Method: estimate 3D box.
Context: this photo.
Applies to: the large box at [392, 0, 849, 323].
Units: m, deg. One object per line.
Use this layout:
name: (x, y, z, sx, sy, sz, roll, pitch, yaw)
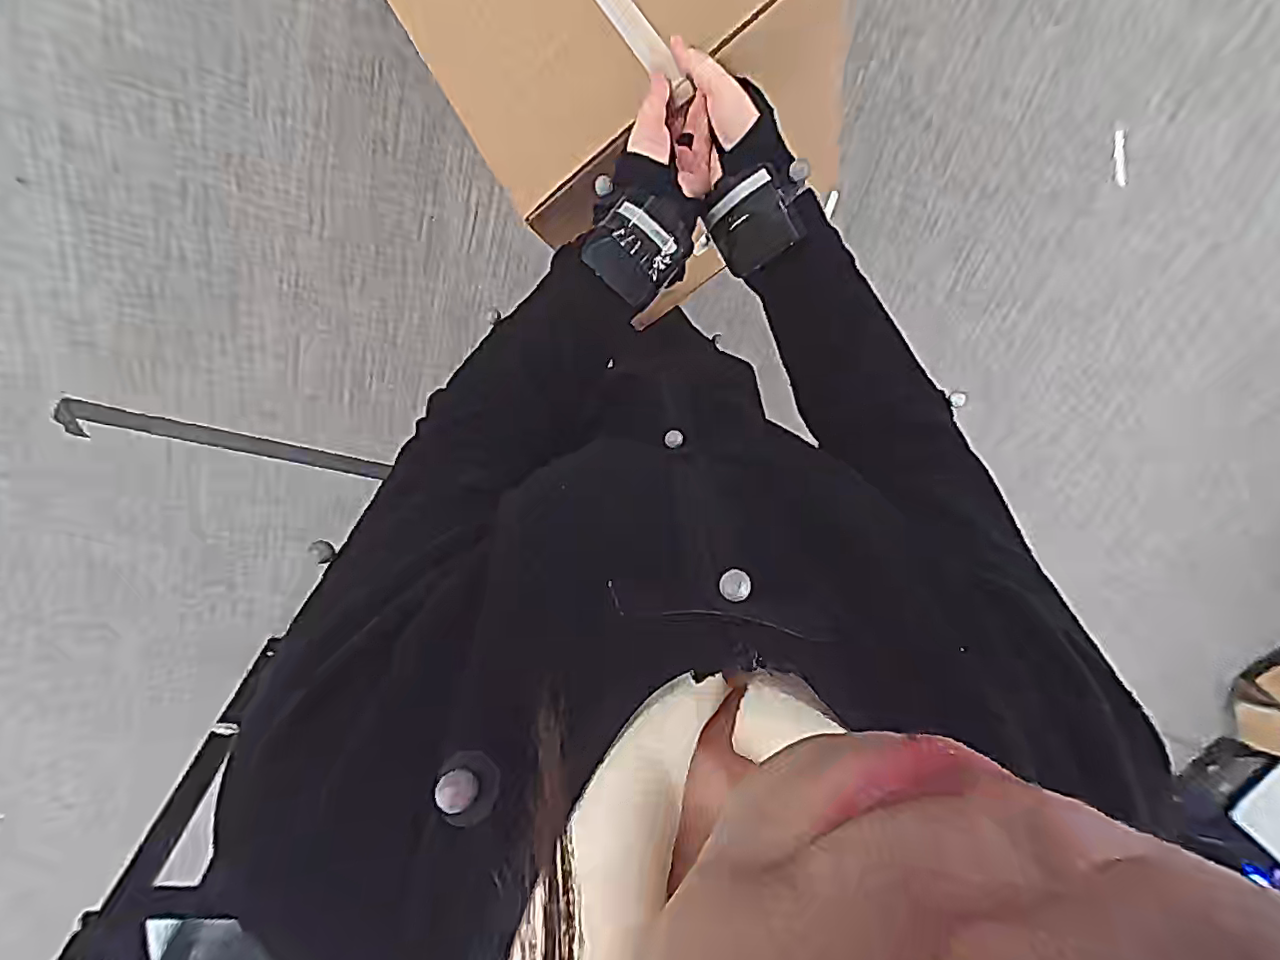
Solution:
large box: (-0.019, -0.459, 0.600, 0.320, 0.320, 0.408, -34, 77, 13)
